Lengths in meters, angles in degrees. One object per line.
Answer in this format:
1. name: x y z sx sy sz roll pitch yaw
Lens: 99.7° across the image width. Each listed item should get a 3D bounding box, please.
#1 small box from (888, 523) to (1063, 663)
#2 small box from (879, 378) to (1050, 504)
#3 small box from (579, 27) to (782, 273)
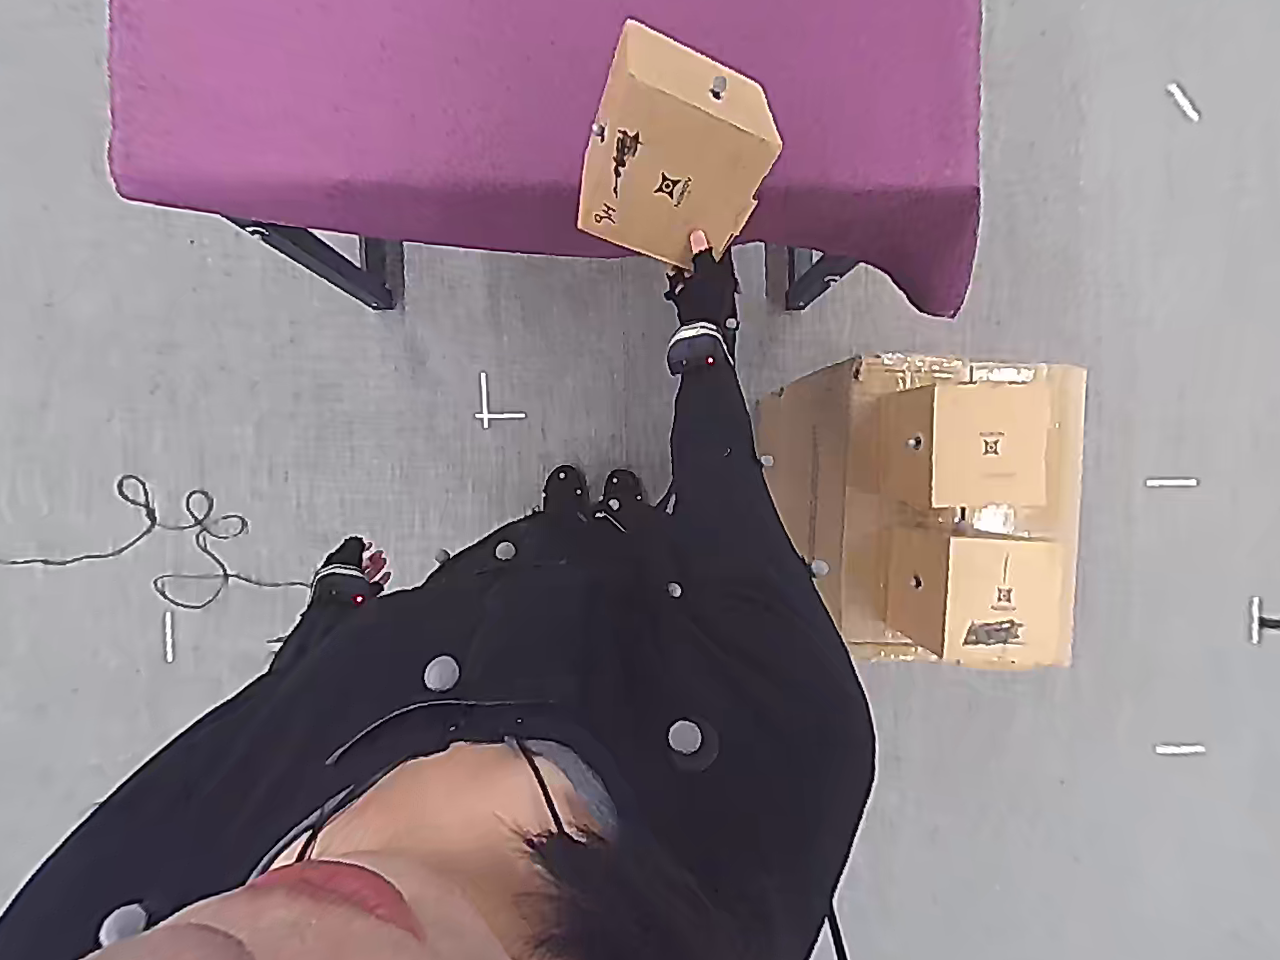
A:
1. small box: 0.504 0.165 0.836 0.168 0.176 0.179 3 90 -2
2. small box: 0.484 -0.057 0.830 0.168 0.176 0.179 0 93 -1
3. small box: 0.037 -0.384 0.636 0.179 0.168 0.176 12 52 -18
